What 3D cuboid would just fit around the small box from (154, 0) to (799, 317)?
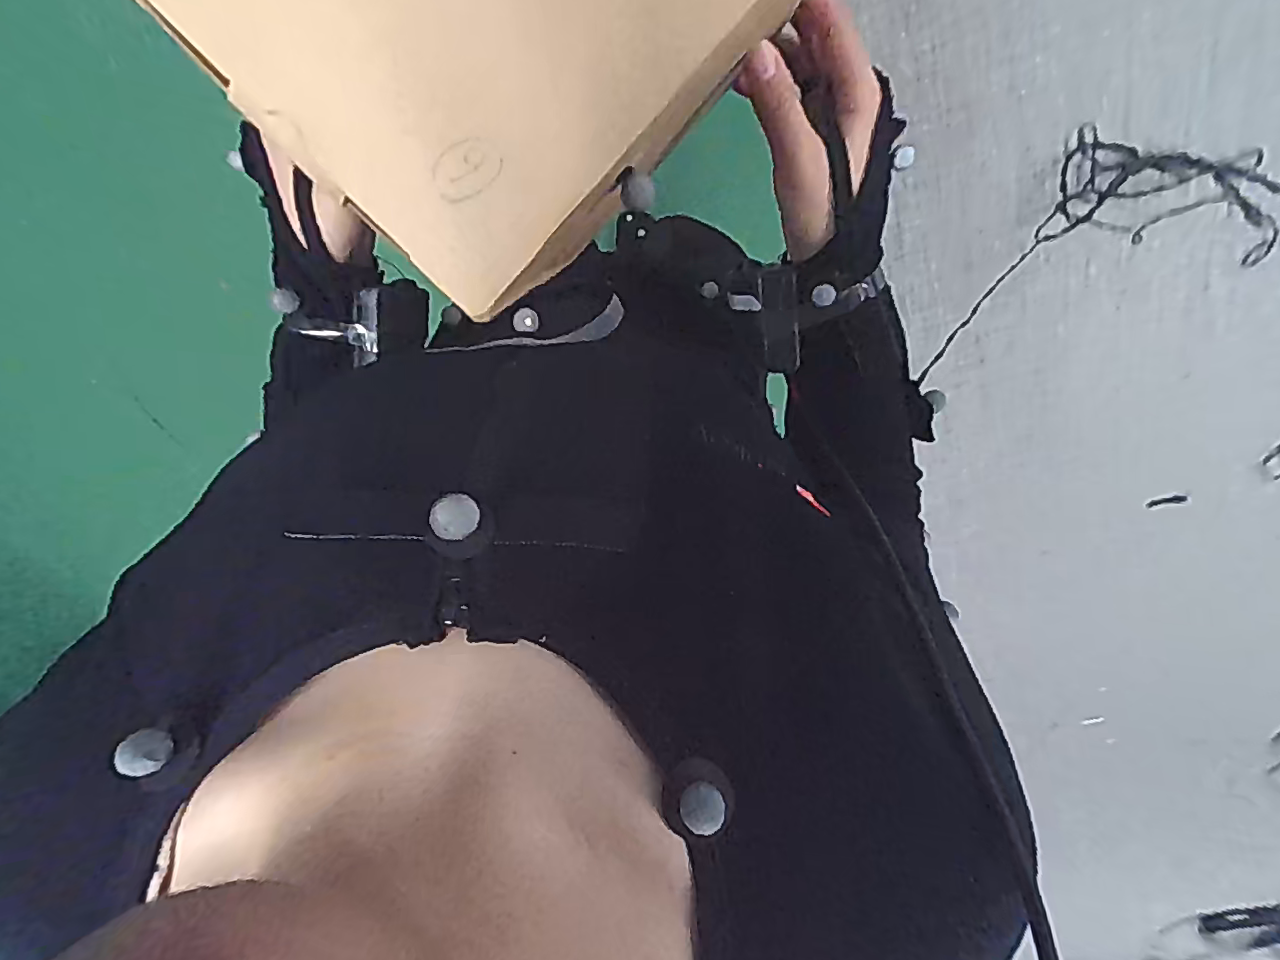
[{"bbox_3d":[-0.045,-0.200,0.221,0.179,0.176,0.168,-38,109,23],"label":"small box"}]
